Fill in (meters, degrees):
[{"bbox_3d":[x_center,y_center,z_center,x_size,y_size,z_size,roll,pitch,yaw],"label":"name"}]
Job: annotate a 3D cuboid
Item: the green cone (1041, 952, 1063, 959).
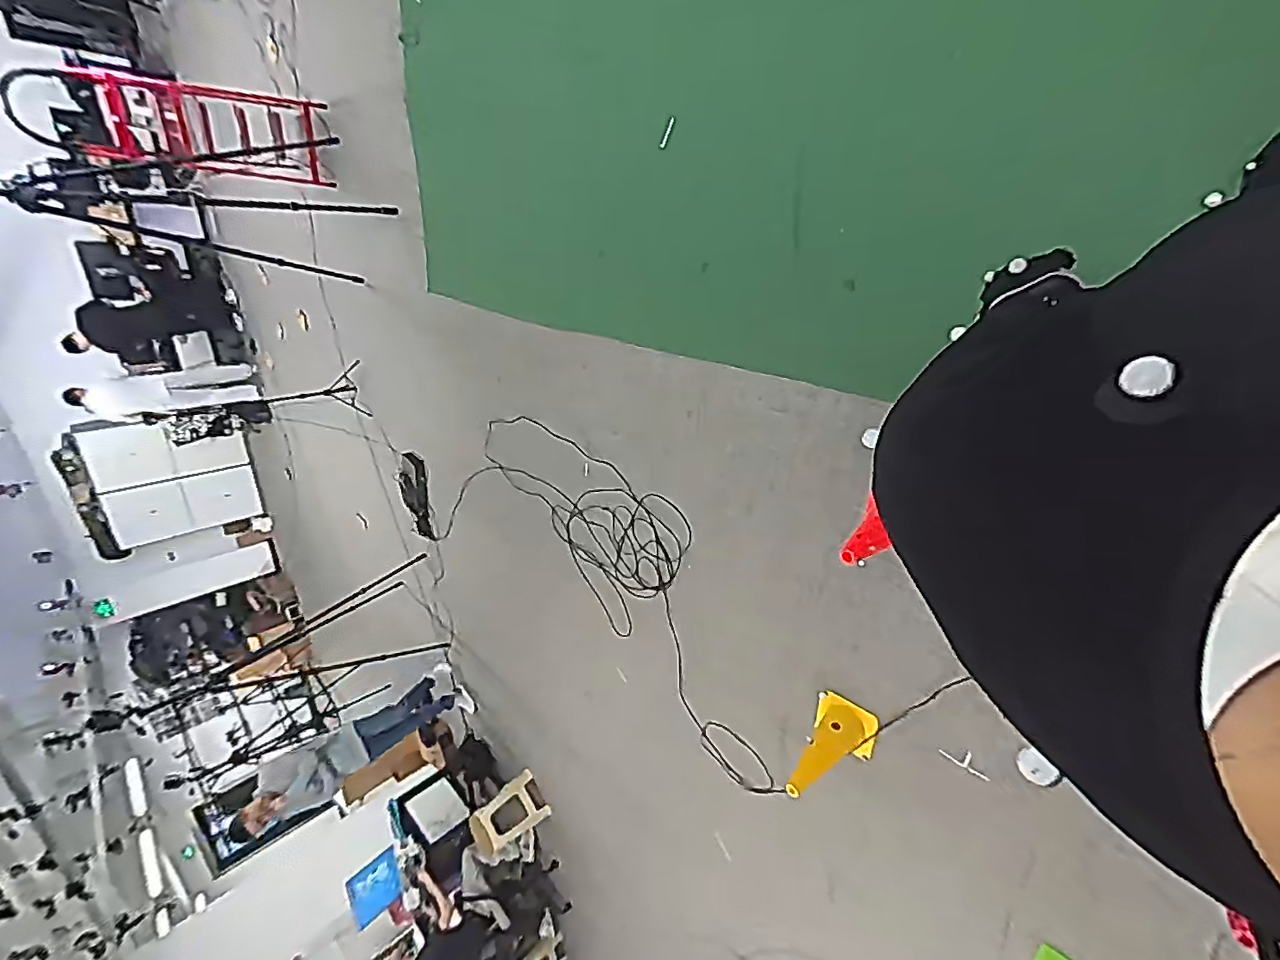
[{"bbox_3d":[1.113,1.507,1.413,0.202,0.368,0.200,23,121,41],"label":"green cone"}]
